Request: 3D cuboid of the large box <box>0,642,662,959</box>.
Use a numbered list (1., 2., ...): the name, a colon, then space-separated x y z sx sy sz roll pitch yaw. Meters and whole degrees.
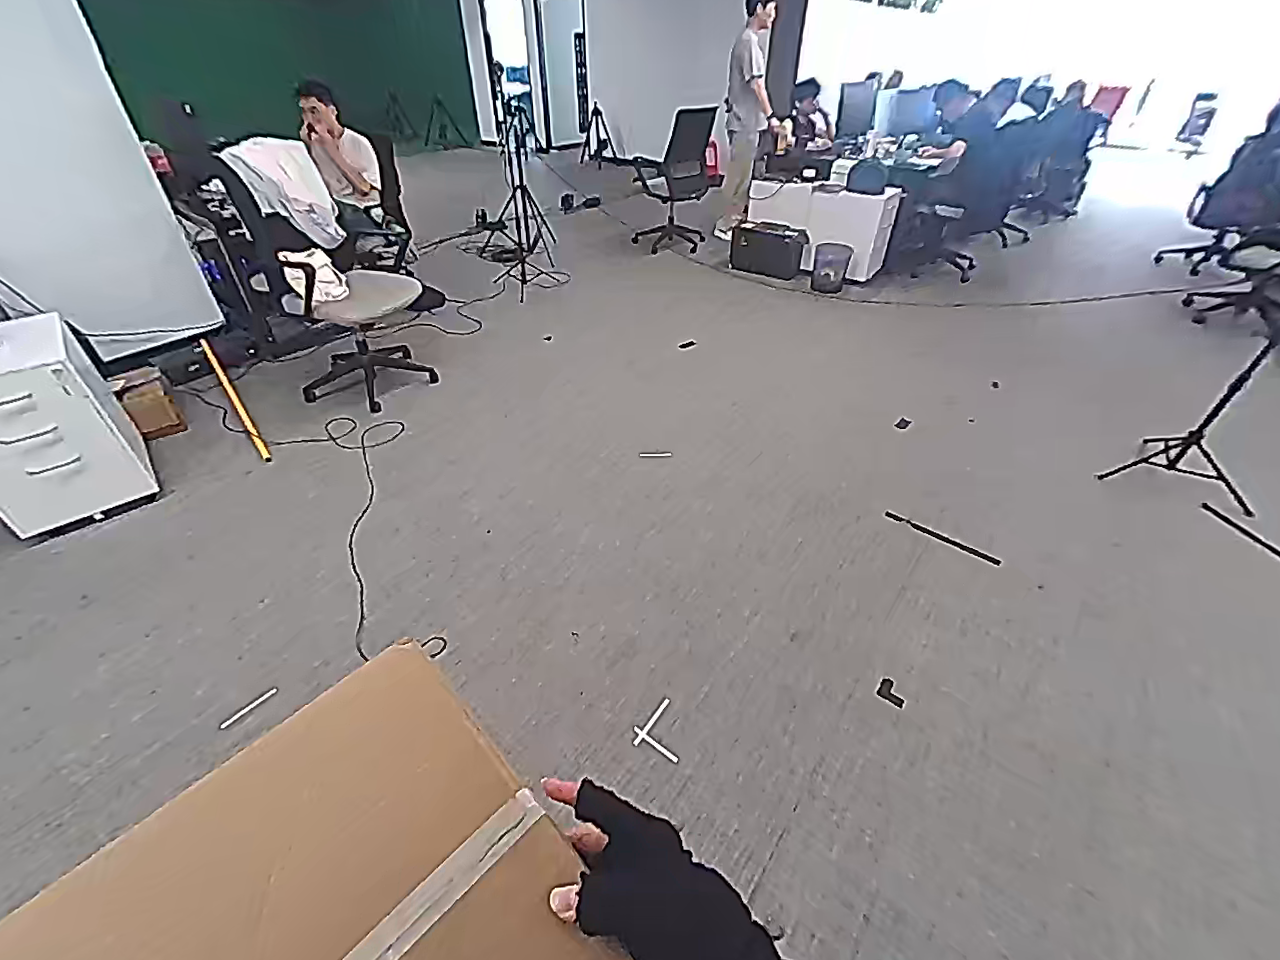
1. large box: -0.220 0.410 0.384 0.408 0.320 0.320 -36 63 -28
